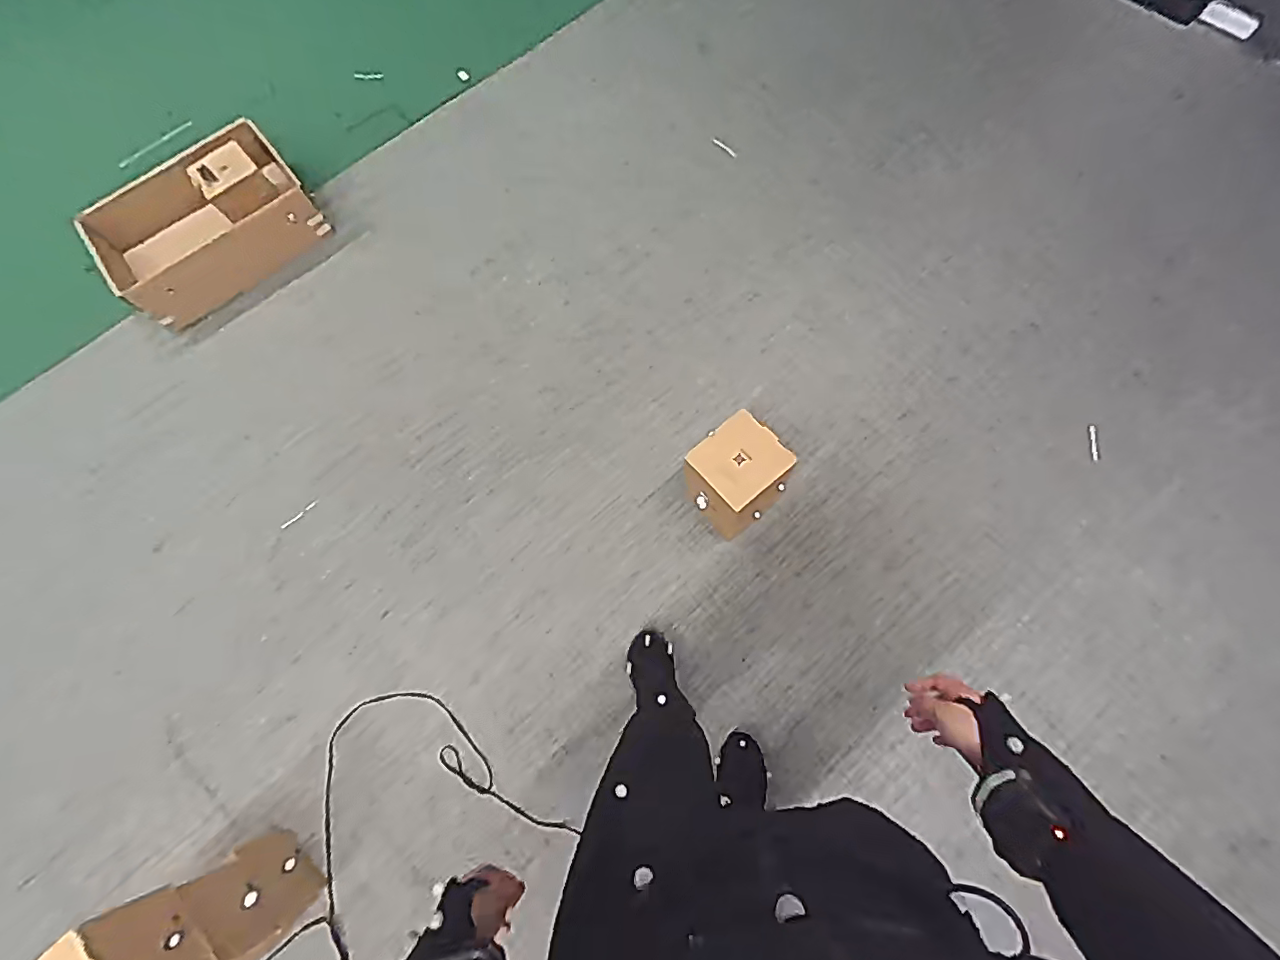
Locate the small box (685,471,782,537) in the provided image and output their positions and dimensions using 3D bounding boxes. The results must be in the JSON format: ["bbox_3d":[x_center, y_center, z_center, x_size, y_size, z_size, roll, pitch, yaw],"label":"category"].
[{"bbox_3d":[0.227,0.021,1.364,0.168,0.176,0.179,-40,73,-9],"label":"small box"}]

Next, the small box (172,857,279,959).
[{"bbox_3d":[-0.822,0.849,0.991,0.168,0.176,0.179,43,79,15],"label":"small box"}]

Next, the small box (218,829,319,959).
[{"bbox_3d":[-0.826,0.892,1.150,0.168,0.176,0.179,39,79,16],"label":"small box"}]

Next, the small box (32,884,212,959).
[{"bbox_3d":[-0.835,0.791,0.840,0.168,0.176,0.179,41,78,15],"label":"small box"}]

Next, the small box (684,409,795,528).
[{"bbox_3d":[0.212,-0.020,1.207,0.179,0.176,0.168,-40,72,-8],"label":"small box"}]
